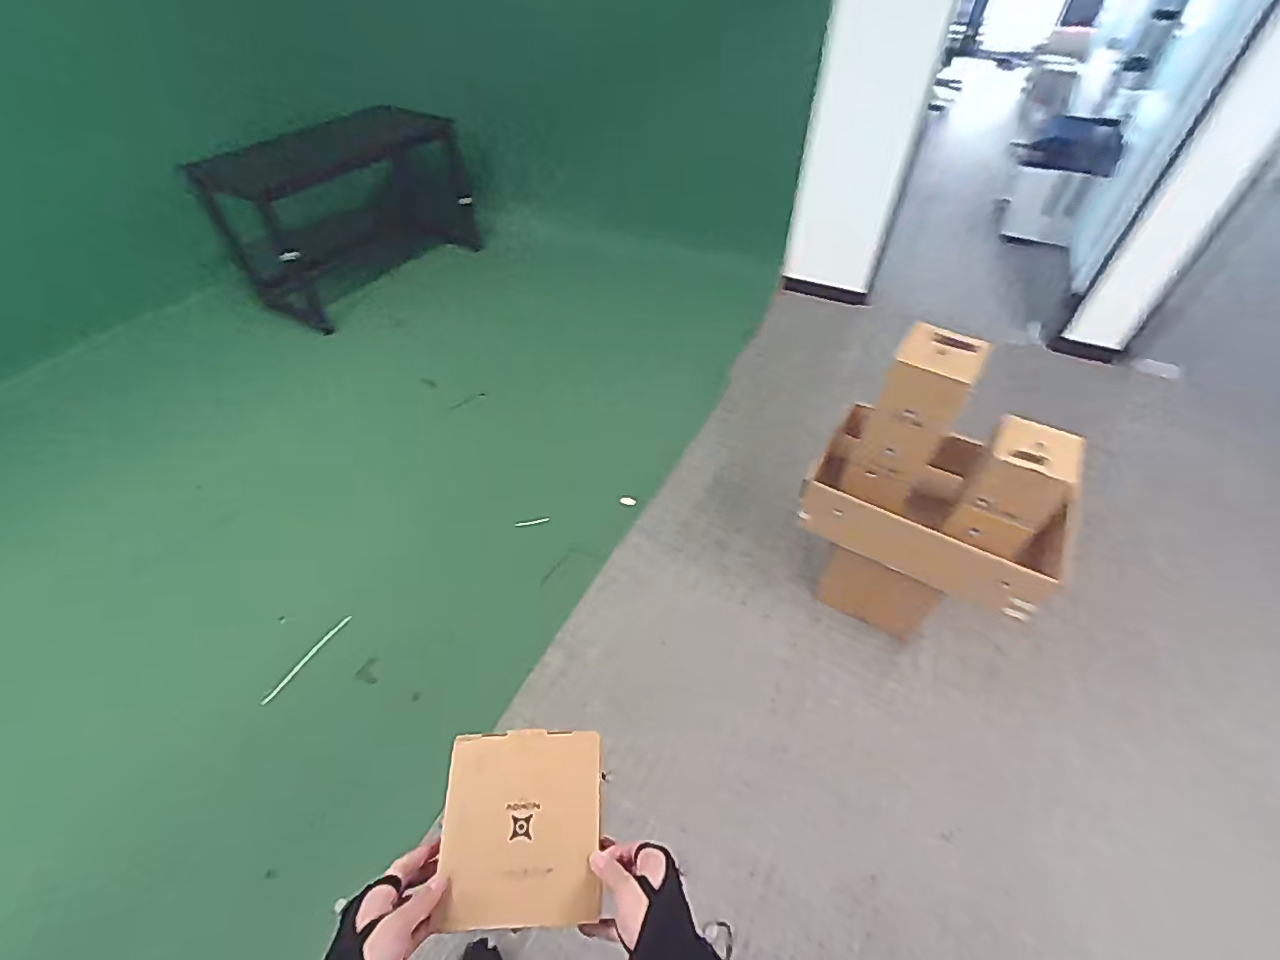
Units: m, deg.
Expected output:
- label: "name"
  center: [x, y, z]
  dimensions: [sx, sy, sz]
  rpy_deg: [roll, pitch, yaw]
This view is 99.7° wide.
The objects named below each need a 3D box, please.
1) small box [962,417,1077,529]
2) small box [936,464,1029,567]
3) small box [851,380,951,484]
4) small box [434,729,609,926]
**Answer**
- label: "small box"
  center: [0.899, -0.014, 1.293]
  dimensions: [0.168, 0.176, 0.179]
  rpy_deg: [25, 52, 22]
- label: "small box"
  center: [0.901, 0.097, 1.415]
  dimensions: [0.168, 0.176, 0.179]
  rpy_deg: [25, 53, 22]
- label: "small box"
  center: [0.665, -0.120, 1.392]
  dimensions: [0.168, 0.176, 0.179]
  rpy_deg: [27, 54, 22]
- label: "small box"
  center: [-0.122, 0.403, 0.636]
  dimensions: [0.168, 0.176, 0.179]
  rpy_deg: [0, 57, -1]
